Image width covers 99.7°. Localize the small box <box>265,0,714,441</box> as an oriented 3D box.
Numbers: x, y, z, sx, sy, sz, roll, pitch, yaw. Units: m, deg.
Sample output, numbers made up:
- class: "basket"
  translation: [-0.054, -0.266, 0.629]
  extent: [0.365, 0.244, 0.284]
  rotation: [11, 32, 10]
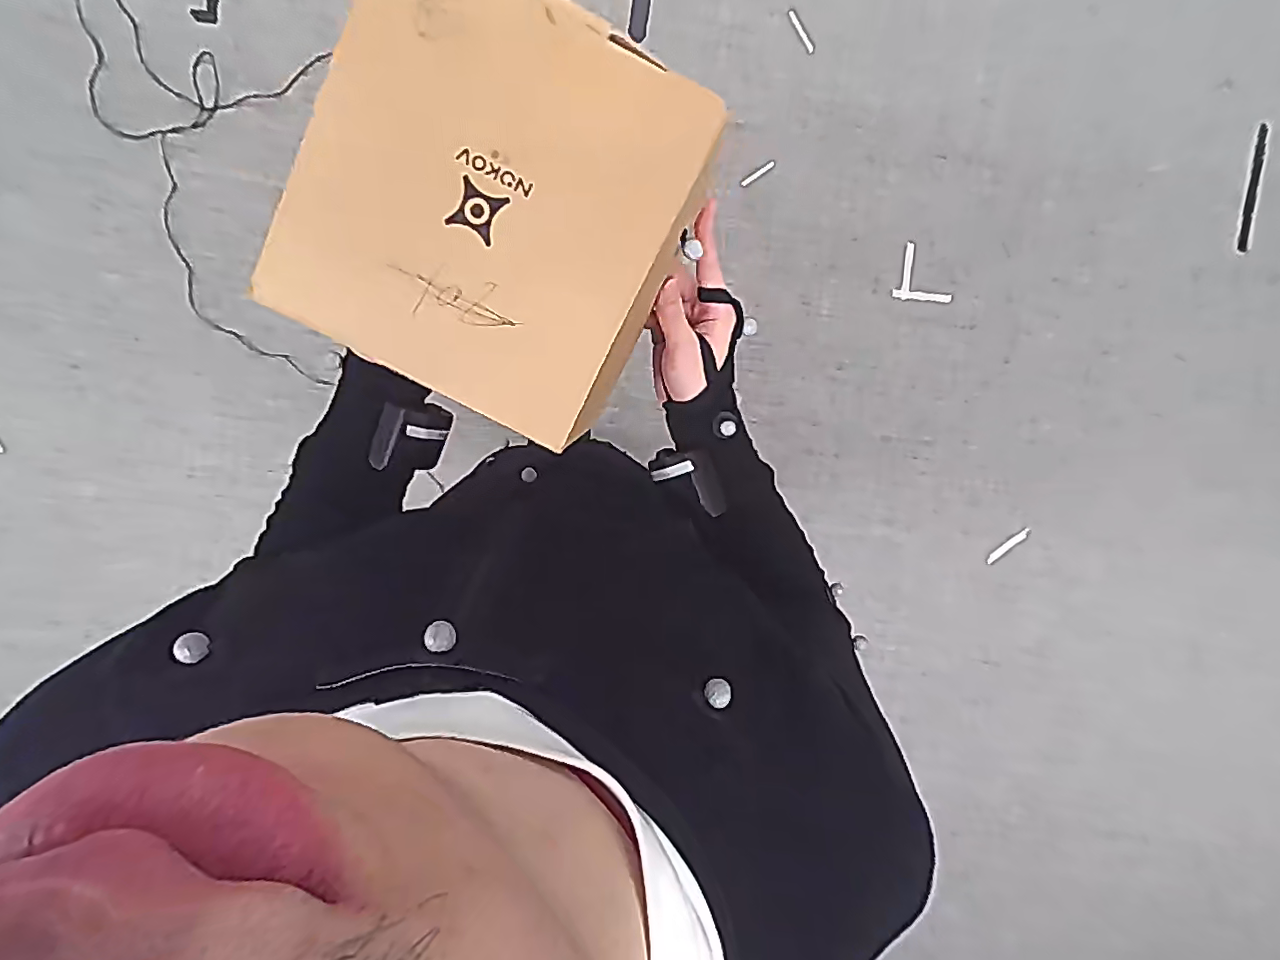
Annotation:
- class: "small box"
  translation: [-0.074, -0.144, 0.335]
  extent: [0.168, 0.176, 0.179]
  rotation: [26, 100, -3]
